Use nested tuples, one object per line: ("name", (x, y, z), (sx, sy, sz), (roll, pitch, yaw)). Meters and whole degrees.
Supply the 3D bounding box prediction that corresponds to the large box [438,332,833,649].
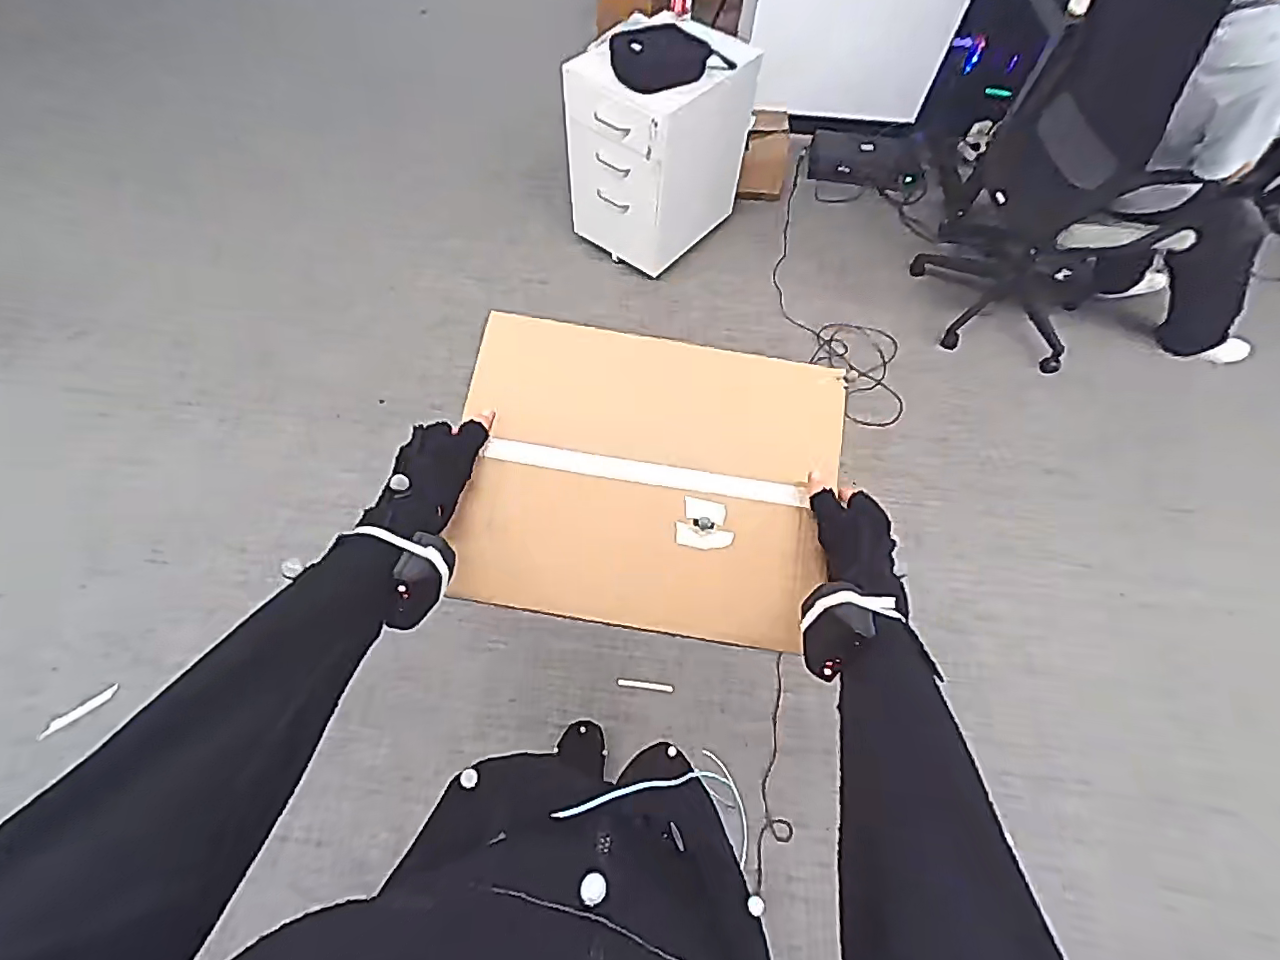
("large box", (0.000, 0.039, 0.732), (0.408, 0.320, 0.320), (9, 75, -1))
